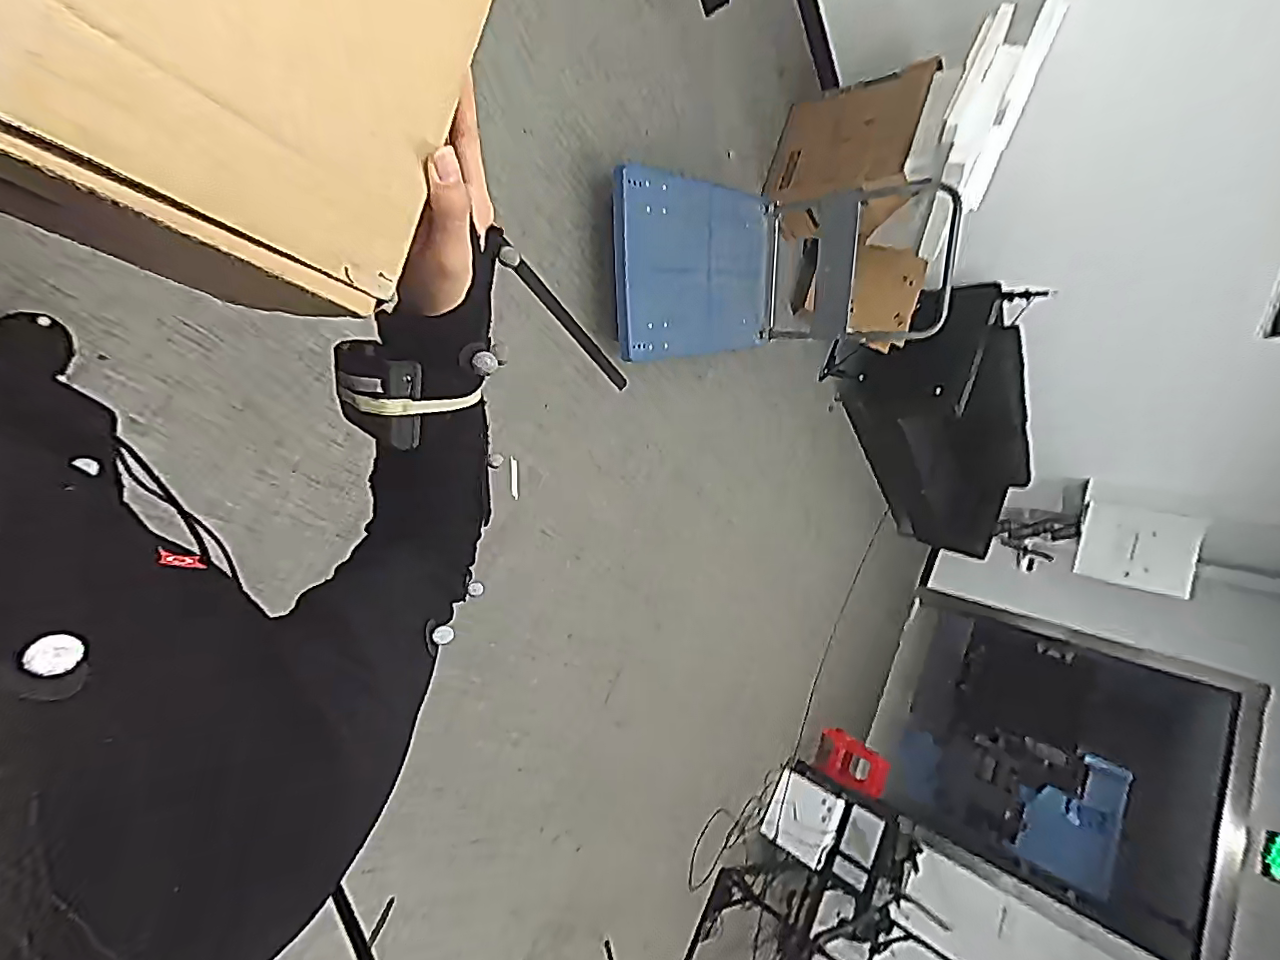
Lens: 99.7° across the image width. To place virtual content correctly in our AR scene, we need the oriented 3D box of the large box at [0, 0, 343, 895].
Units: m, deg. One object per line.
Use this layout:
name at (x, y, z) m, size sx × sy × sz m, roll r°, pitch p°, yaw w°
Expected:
large box at (-0.381, -0.055, 0.207) m, size 0.320 × 0.320 × 0.408 m, roll -12°, pitch 132°, yaw -8°
